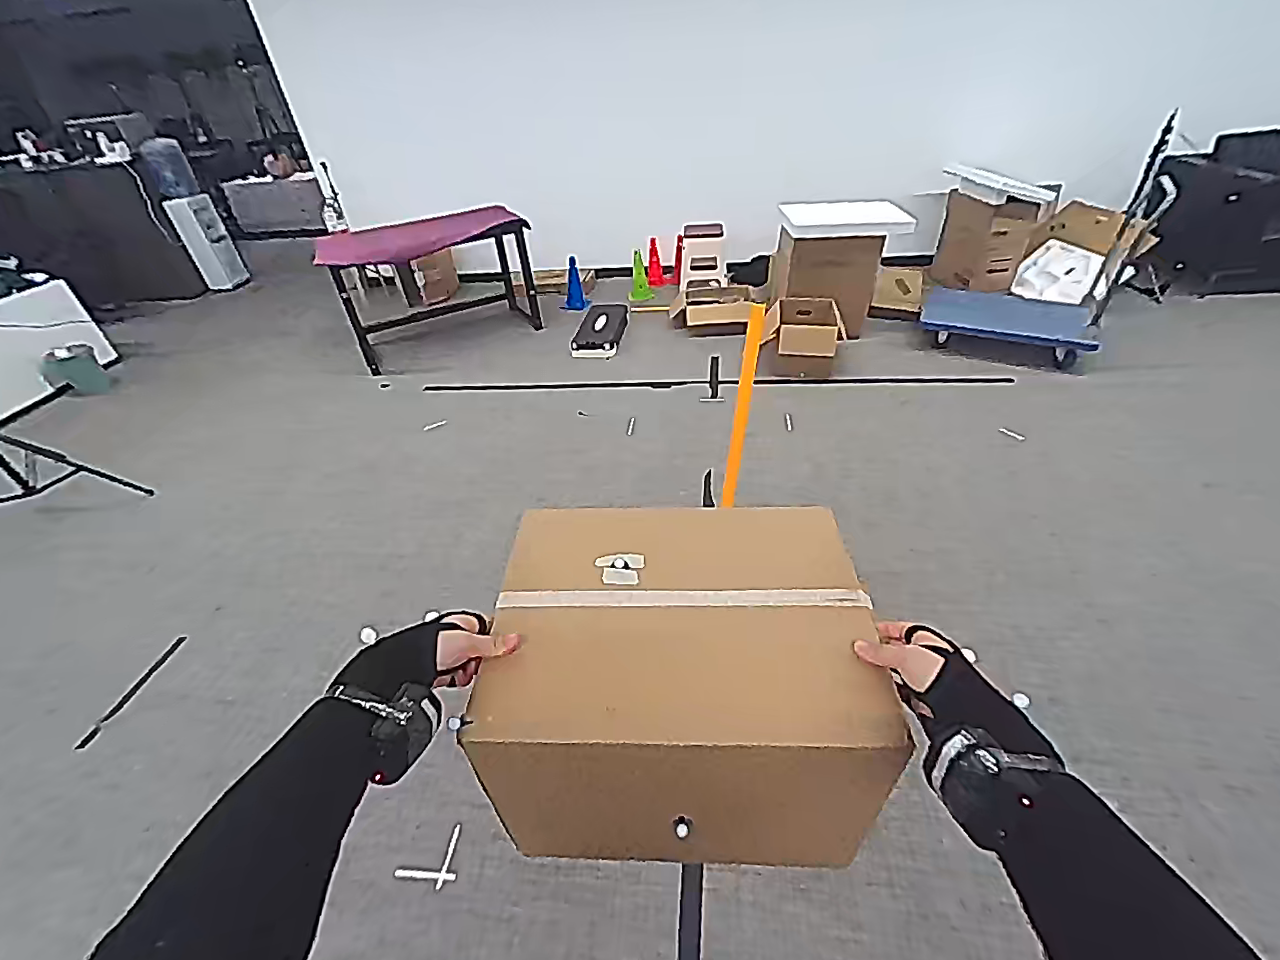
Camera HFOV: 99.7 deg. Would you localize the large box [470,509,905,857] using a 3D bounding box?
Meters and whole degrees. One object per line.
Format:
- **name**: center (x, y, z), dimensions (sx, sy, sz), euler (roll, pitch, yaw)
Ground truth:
- **large box**: center (0.054, 0.259, 0.696), dimensions (0.408, 0.320, 0.320), euler (-2, 37, 4)
